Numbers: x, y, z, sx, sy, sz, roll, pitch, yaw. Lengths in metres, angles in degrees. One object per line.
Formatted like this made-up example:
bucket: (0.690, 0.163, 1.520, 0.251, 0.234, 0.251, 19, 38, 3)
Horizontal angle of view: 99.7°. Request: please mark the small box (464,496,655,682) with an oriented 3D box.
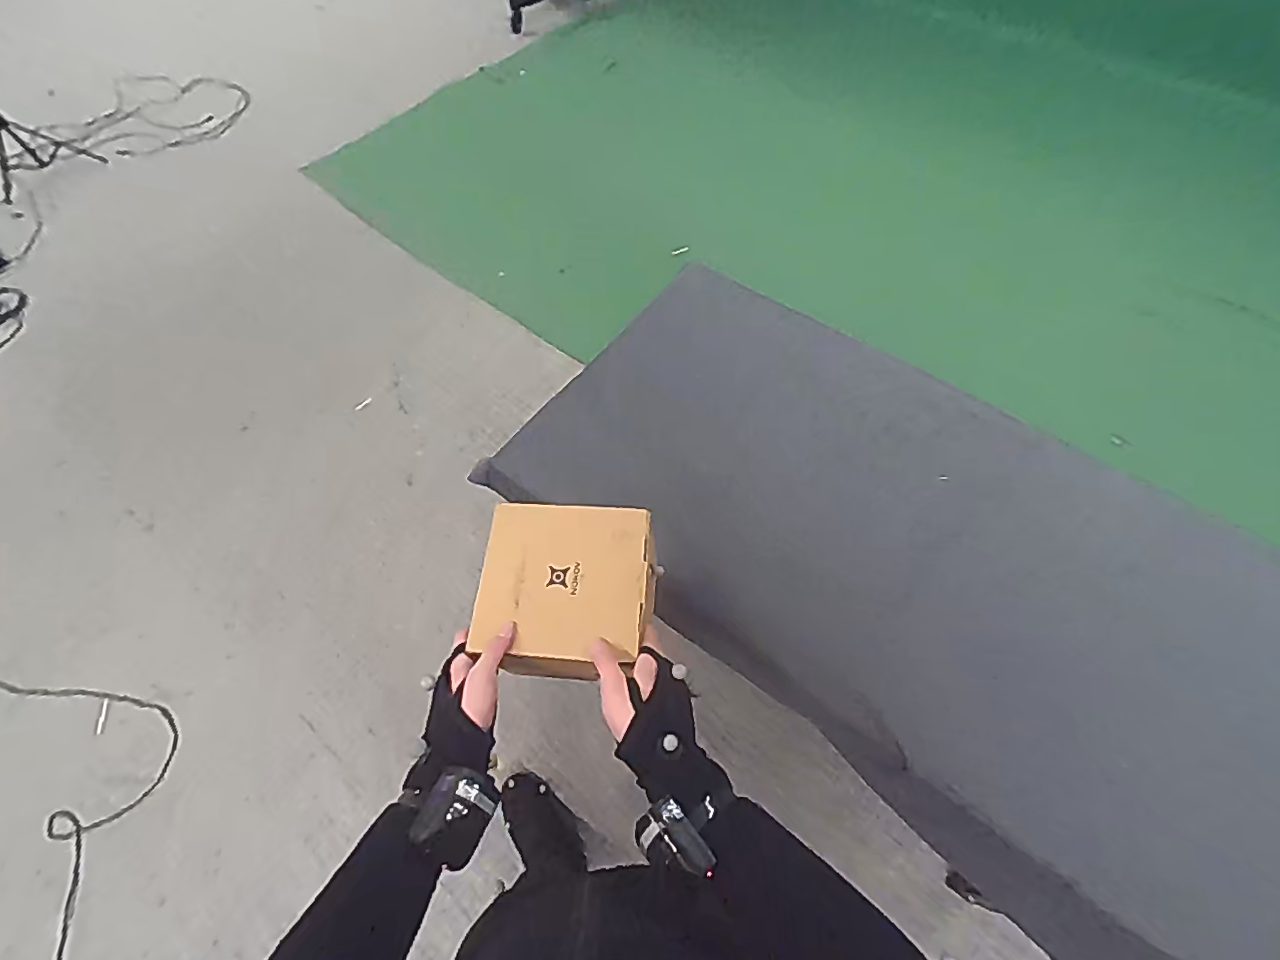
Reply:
small box: (-0.075, 0.132, 0.623, 0.179, 0.176, 0.168, 2, 61, 5)
